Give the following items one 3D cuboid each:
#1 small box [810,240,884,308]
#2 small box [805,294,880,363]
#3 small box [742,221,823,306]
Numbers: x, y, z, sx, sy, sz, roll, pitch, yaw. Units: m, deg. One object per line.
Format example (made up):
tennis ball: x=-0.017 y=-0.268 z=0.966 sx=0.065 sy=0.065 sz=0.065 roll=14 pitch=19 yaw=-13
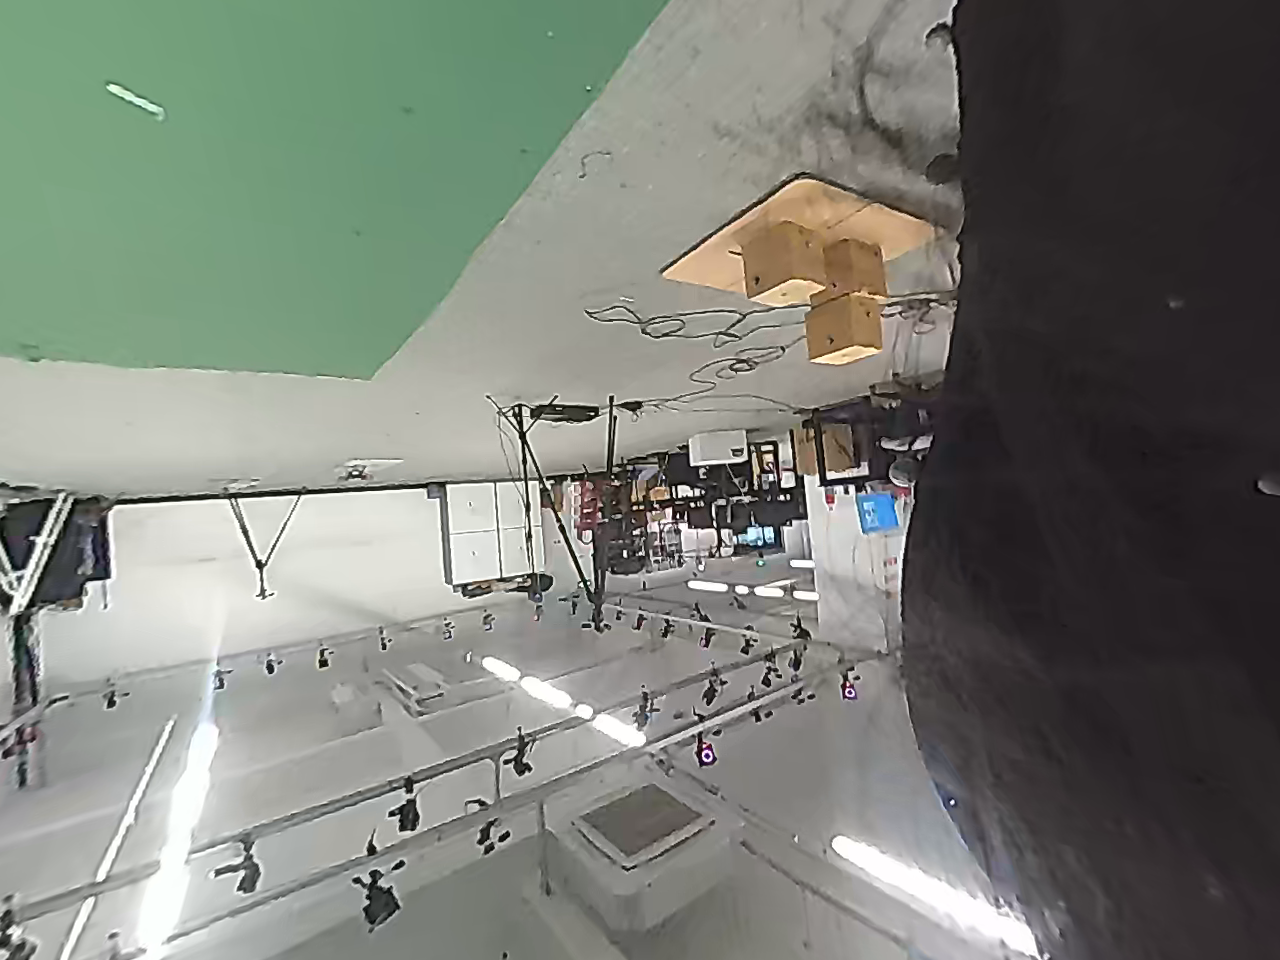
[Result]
small box: x=0.665 y=-0.661 z=1.769 sx=0.168 sy=0.176 sz=0.179 roll=-4 pitch=177 yaw=-32
small box: x=0.662 y=-0.496 z=1.783 sx=0.168 sy=0.176 sz=0.179 roll=-4 pitch=177 yaw=-34
small box: x=0.425 y=-0.645 z=1.628 sx=0.168 sy=0.176 sz=0.179 roll=-5 pitch=177 yaw=-38
